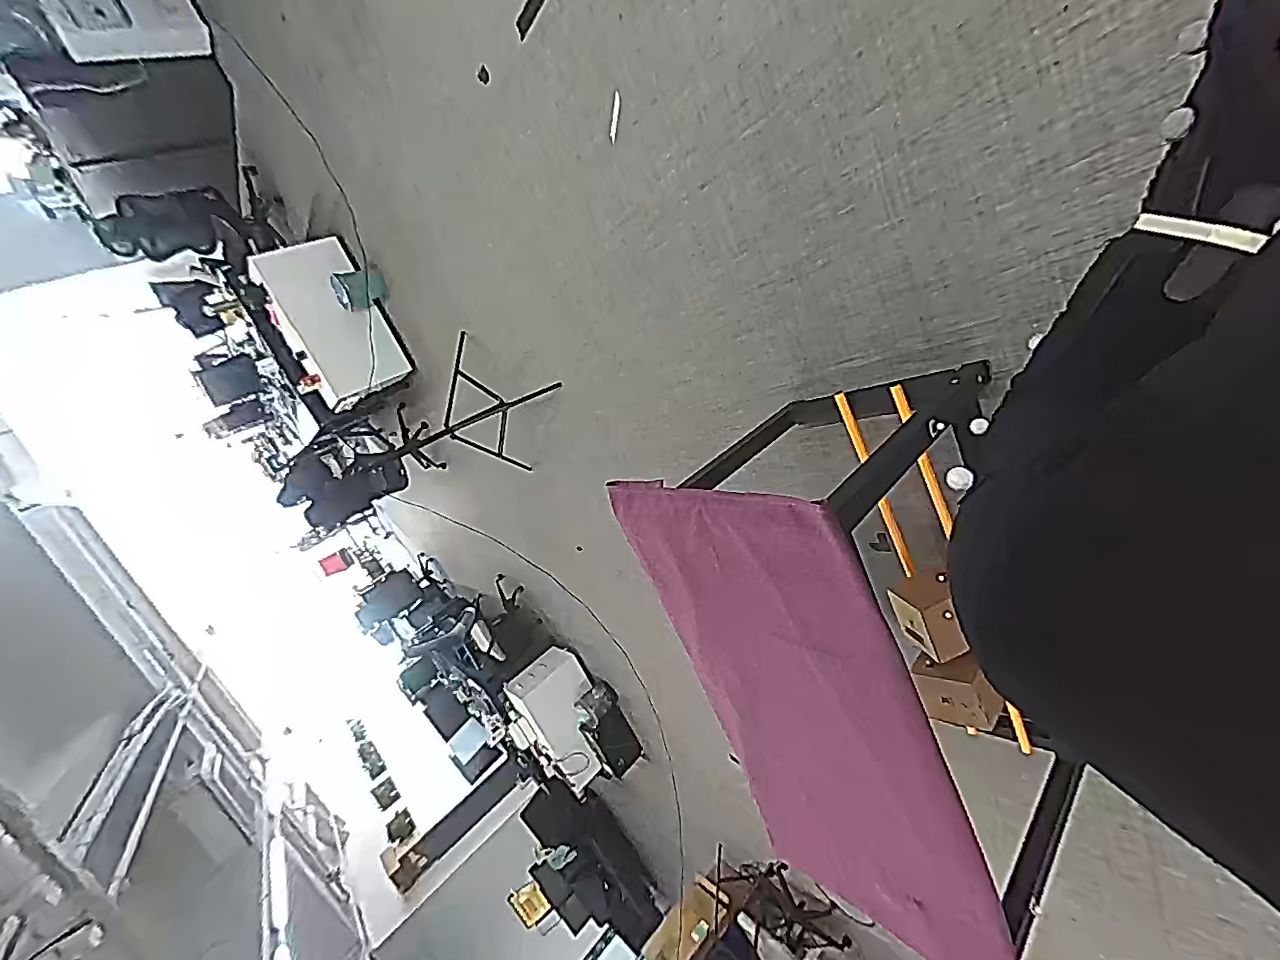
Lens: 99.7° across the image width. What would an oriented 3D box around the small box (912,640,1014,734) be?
[{"bbox_3d":[0.912,0.573,1.523,0.179,0.176,0.168,-11,110,55],"label":"small box"}]
